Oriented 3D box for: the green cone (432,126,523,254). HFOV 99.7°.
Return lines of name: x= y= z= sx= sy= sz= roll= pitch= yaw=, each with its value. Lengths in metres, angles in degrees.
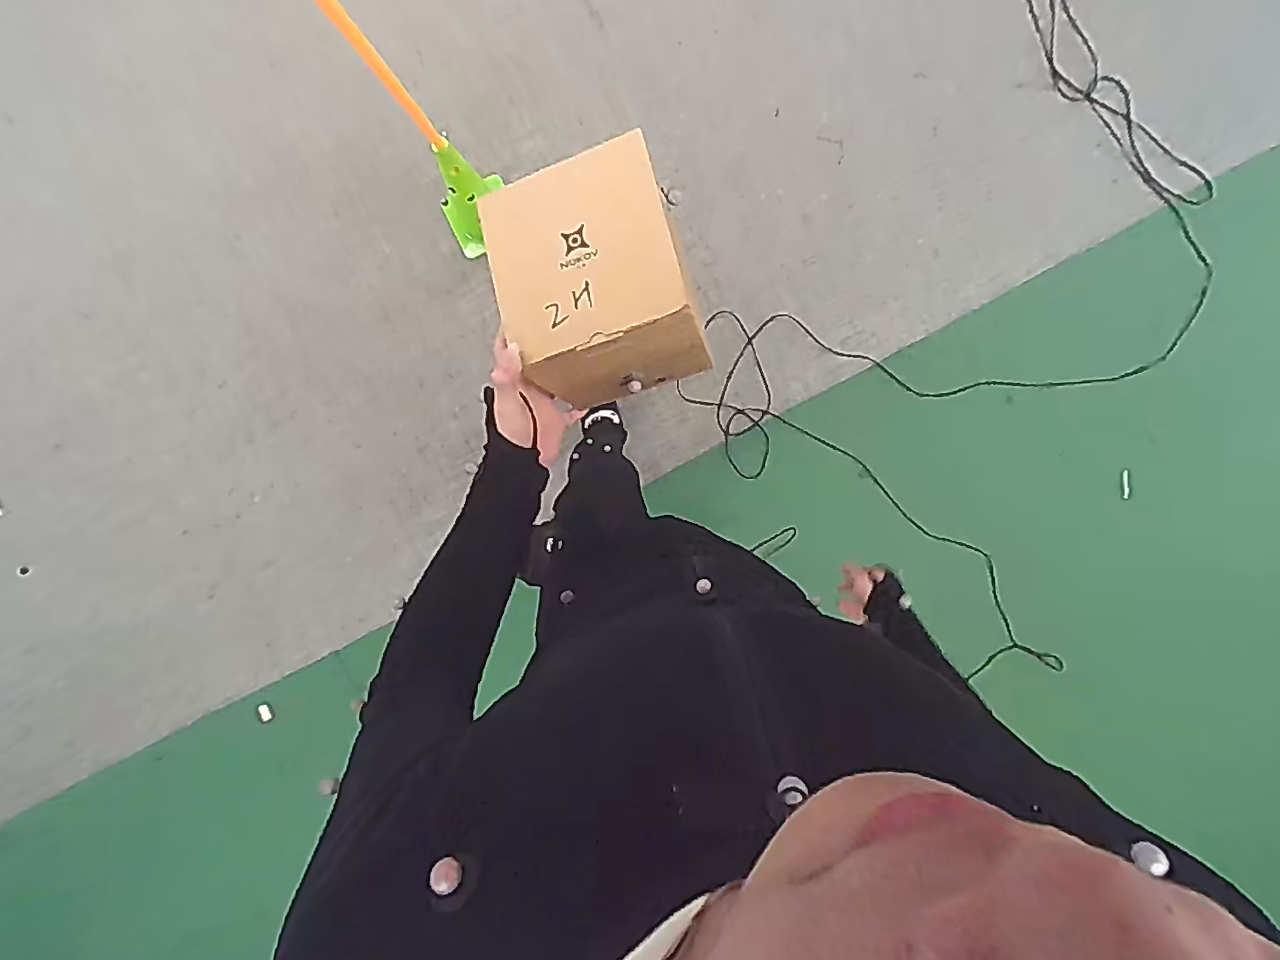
green cone: x=-0.465 y=-0.786 z=1.416 sx=0.202 sy=0.368 sz=0.200 roll=-27 pitch=91 yaw=-1
